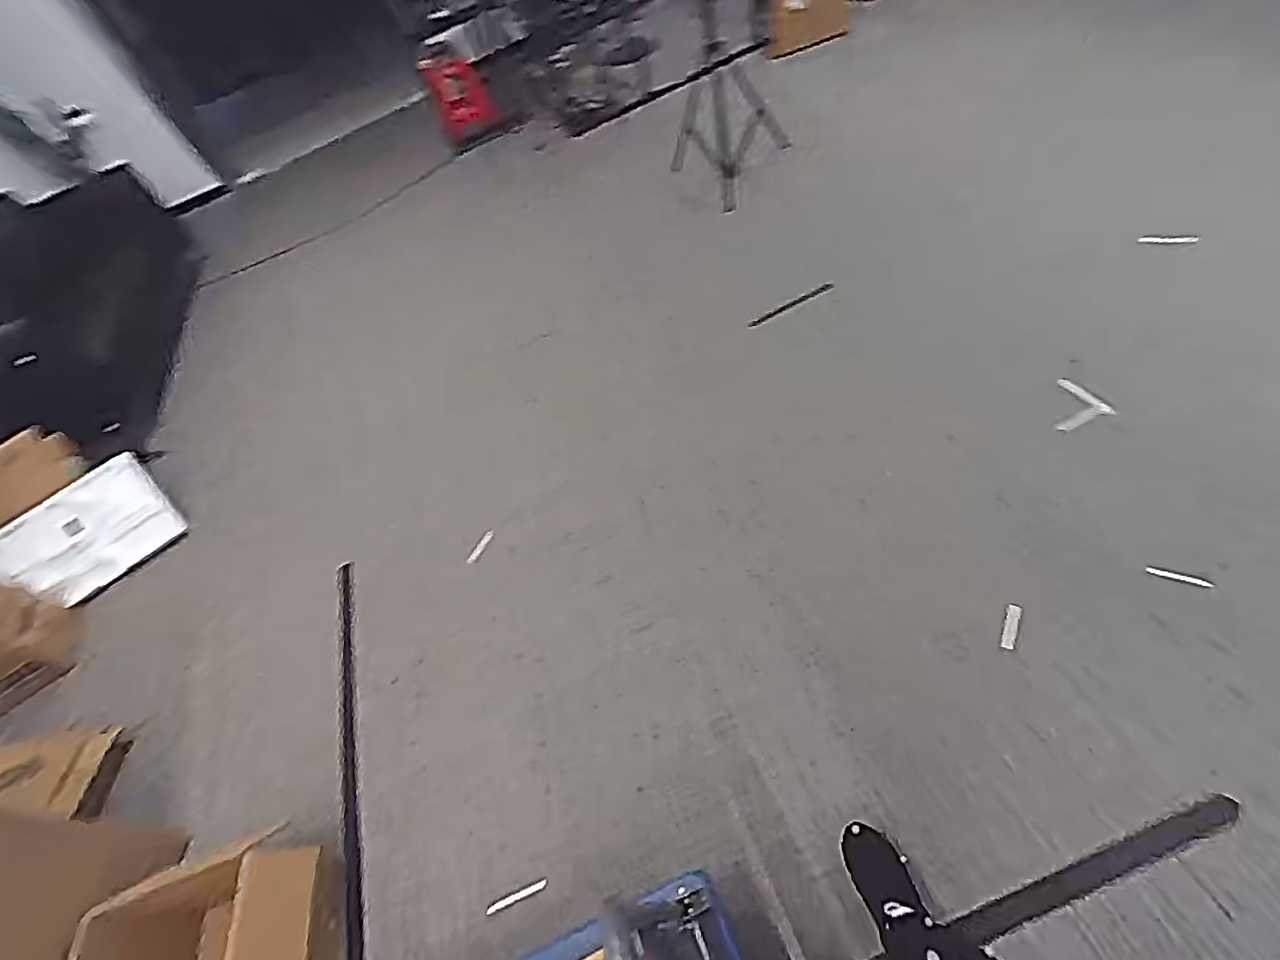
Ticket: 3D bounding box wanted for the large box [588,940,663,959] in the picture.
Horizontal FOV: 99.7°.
[{"bbox_3d":[-0.055,0.988,0.779,0.320,0.320,0.408,-30,50,-5],"label":"large box"}]
